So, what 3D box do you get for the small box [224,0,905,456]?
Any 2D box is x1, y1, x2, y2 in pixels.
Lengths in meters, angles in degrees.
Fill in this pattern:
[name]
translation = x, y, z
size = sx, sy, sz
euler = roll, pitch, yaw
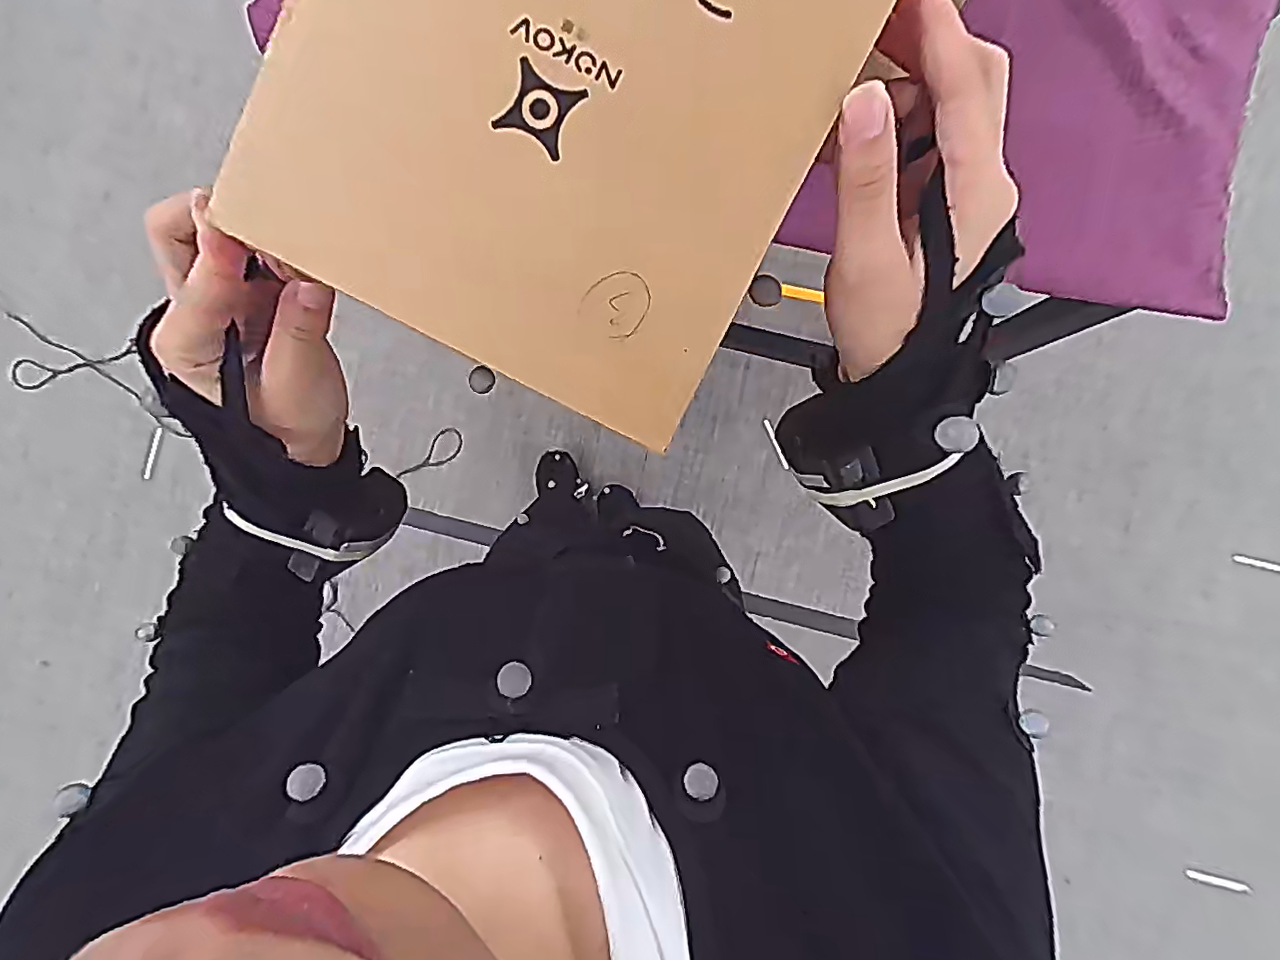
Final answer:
[small box]
translation = -0.025, -0.128, 0.250
size = 0.168, 0.176, 0.179
euler = 27, 95, -4
